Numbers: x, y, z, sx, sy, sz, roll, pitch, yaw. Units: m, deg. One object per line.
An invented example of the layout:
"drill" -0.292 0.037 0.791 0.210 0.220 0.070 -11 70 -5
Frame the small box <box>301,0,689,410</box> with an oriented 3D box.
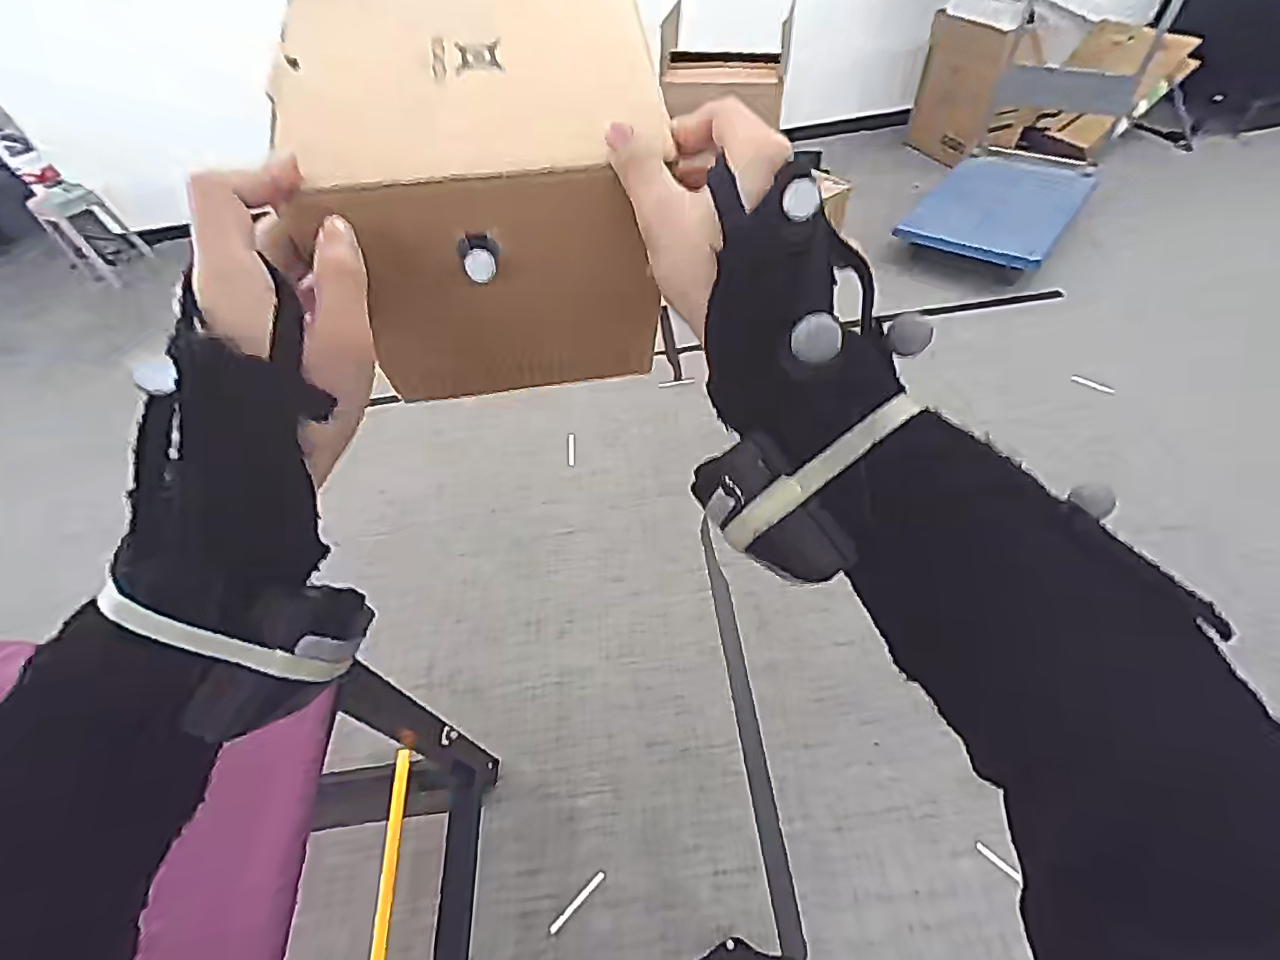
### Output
"small box" -0.077 -0.161 0.346 0.179 0.176 0.168 -8 68 -5
